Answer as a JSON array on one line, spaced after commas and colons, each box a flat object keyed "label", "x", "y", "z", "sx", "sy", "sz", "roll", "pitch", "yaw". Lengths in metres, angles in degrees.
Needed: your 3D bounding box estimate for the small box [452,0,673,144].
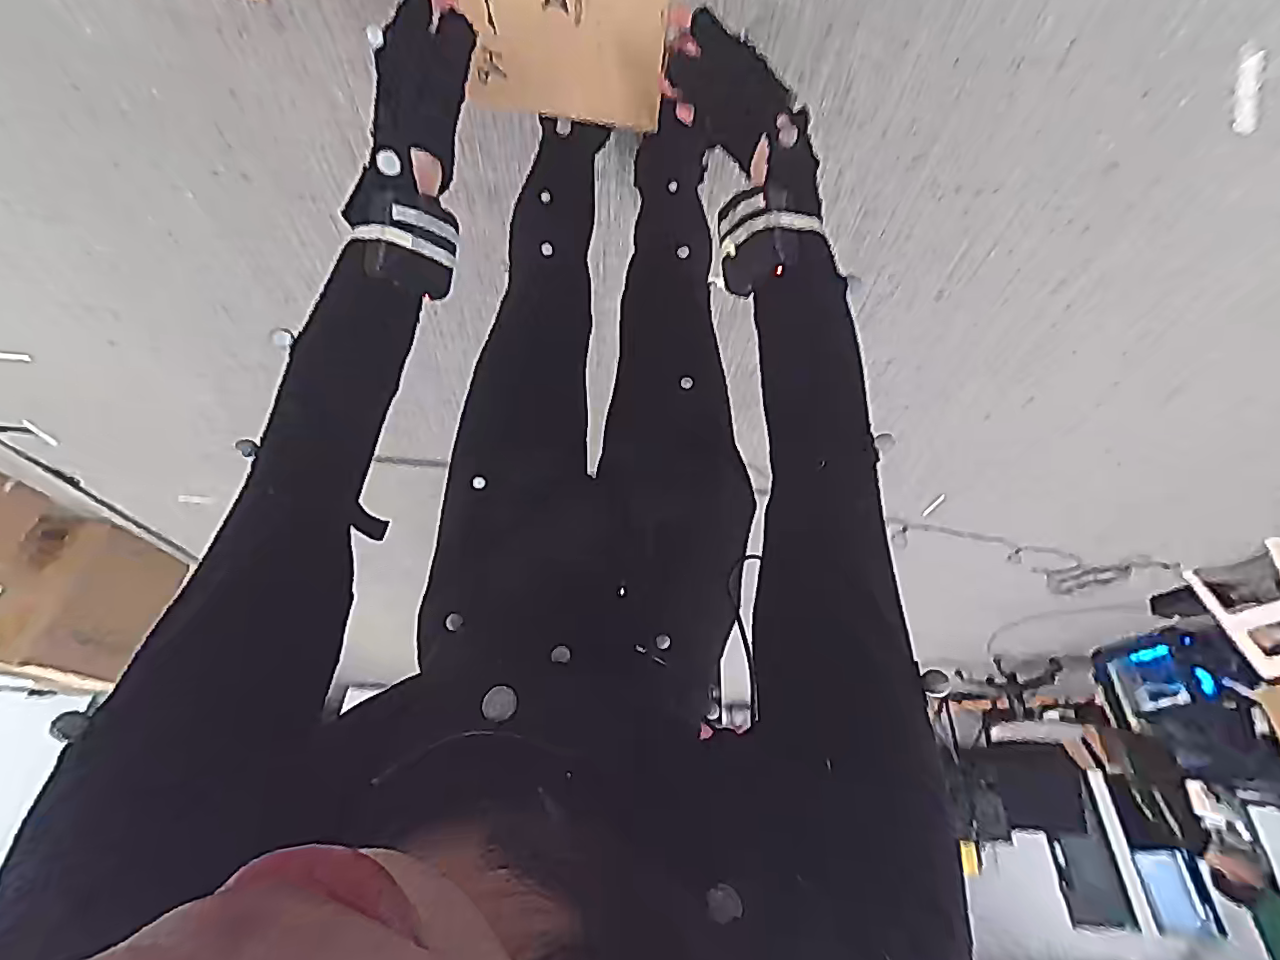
[{"label": "small box", "x": -0.072, "y": -0.424, "z": 0.498, "sx": 0.179, "sy": 0.176, "sz": 0.168, "roll": 3, "pitch": 123, "yaw": -11}]
